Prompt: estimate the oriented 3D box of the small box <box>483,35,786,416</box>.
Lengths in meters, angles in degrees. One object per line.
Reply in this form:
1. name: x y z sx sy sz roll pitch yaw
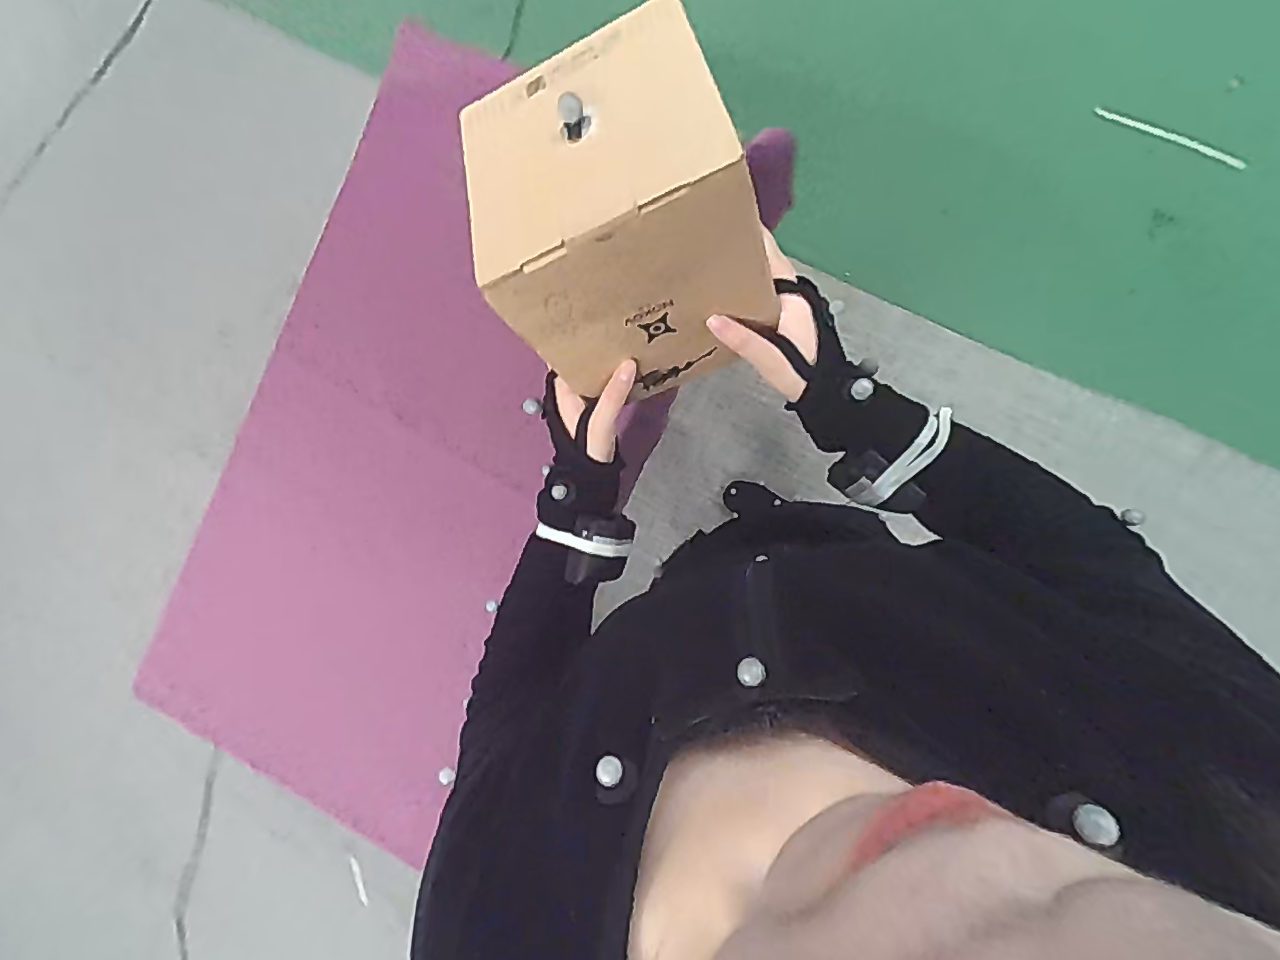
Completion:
1. small box: -0.002 -0.180 0.406 0.168 0.179 0.176 -17 65 15
